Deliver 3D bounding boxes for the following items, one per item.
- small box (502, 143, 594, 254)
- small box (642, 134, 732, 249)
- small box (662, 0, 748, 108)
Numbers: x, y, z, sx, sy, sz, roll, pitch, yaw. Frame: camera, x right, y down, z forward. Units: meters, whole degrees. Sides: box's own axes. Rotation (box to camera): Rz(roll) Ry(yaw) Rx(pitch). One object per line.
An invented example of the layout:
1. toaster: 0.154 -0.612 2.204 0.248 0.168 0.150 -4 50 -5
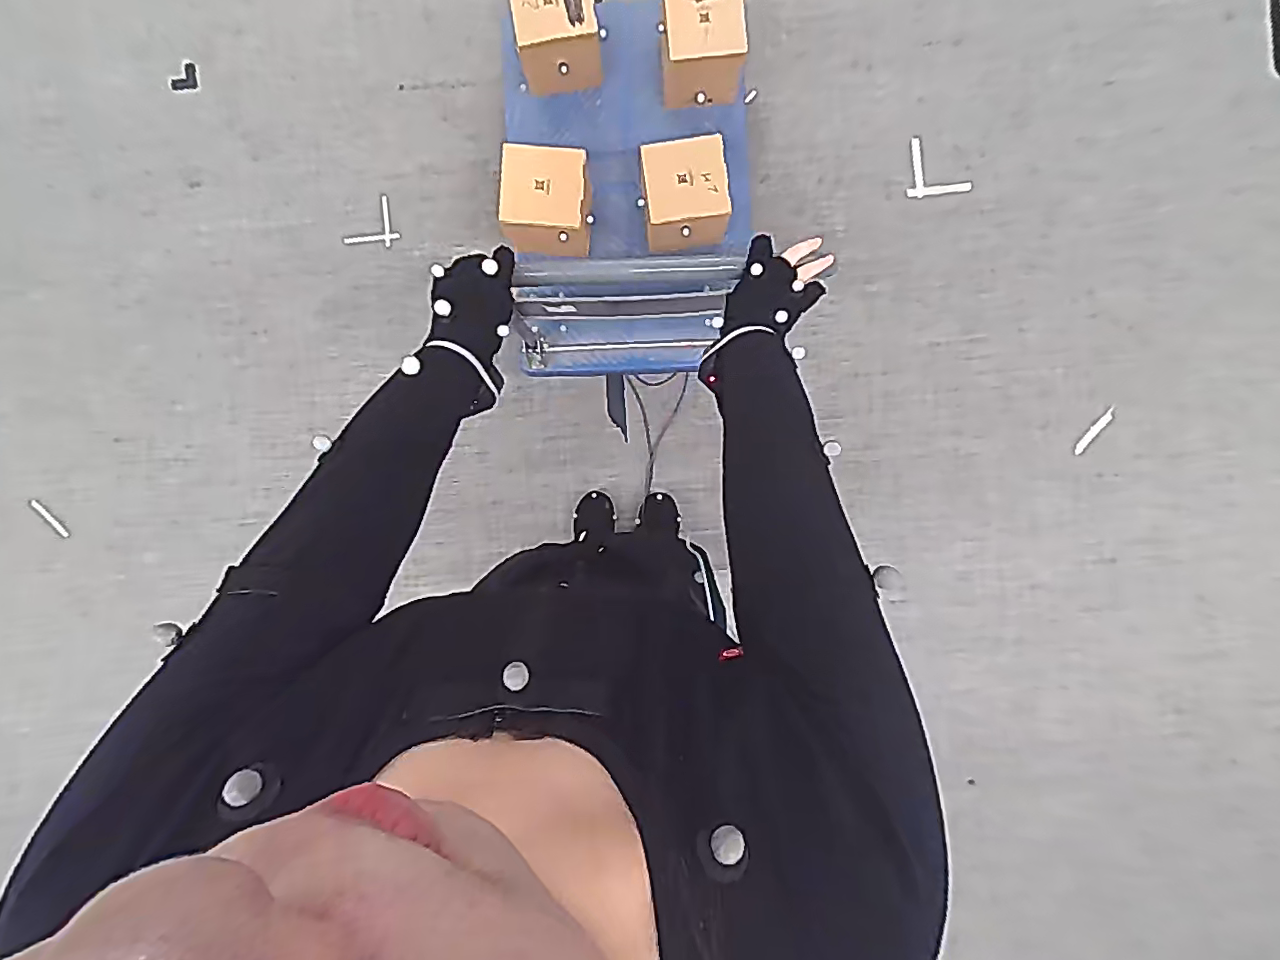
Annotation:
1. small box: -0.202 -0.627 1.225 0.179 0.176 0.168 4 91 -1
2. small box: 0.101 -0.641 1.222 0.179 0.176 0.168 -8 92 1
3. small box: 0.140 -0.979 1.209 0.168 0.176 0.179 -5 93 1
